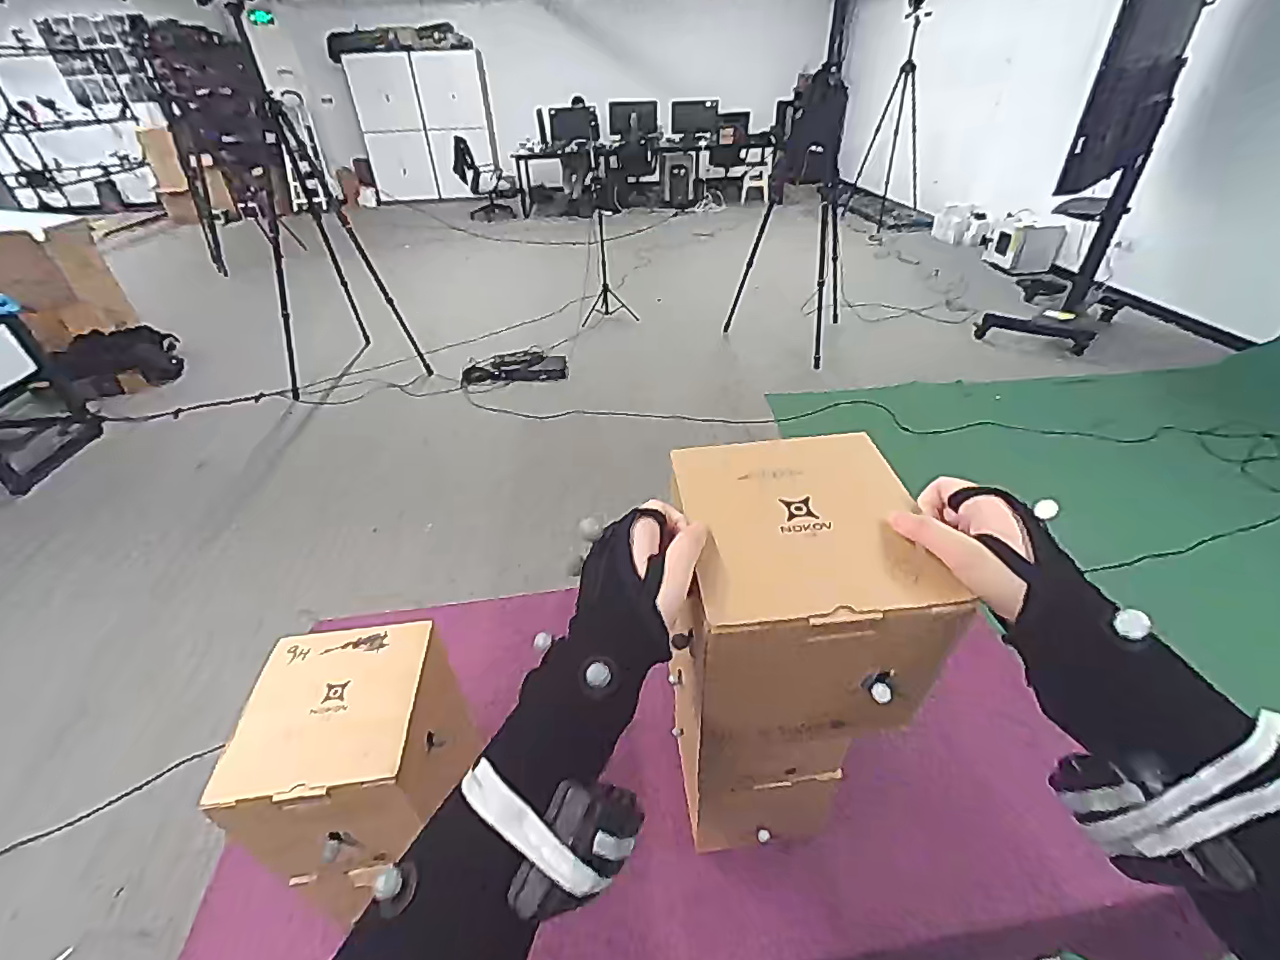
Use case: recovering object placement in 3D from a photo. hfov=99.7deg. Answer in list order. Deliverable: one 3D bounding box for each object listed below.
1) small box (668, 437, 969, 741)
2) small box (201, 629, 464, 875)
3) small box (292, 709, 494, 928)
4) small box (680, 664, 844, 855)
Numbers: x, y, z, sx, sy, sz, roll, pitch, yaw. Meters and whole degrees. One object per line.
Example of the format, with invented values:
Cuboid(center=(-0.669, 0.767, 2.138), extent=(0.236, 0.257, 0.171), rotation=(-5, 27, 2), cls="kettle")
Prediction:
Cuboid(center=(0.116, 0.090, 0.434), extent=(0.168, 0.176, 0.179), rotation=(-5, 41, -2), cls="small box")
Cuboid(center=(-0.294, 0.288, 0.571), extent=(0.168, 0.176, 0.179), rotation=(-5, 37, -5), cls="small box")
Cuboid(center=(-0.283, 0.419, 0.669), extent=(0.168, 0.176, 0.179), rotation=(-7, 36, -6), cls="small box")
Cuboid(center=(0.144, 0.359, 0.716), extent=(0.168, 0.176, 0.179), rotation=(-6, 37, -3), cls="small box")
